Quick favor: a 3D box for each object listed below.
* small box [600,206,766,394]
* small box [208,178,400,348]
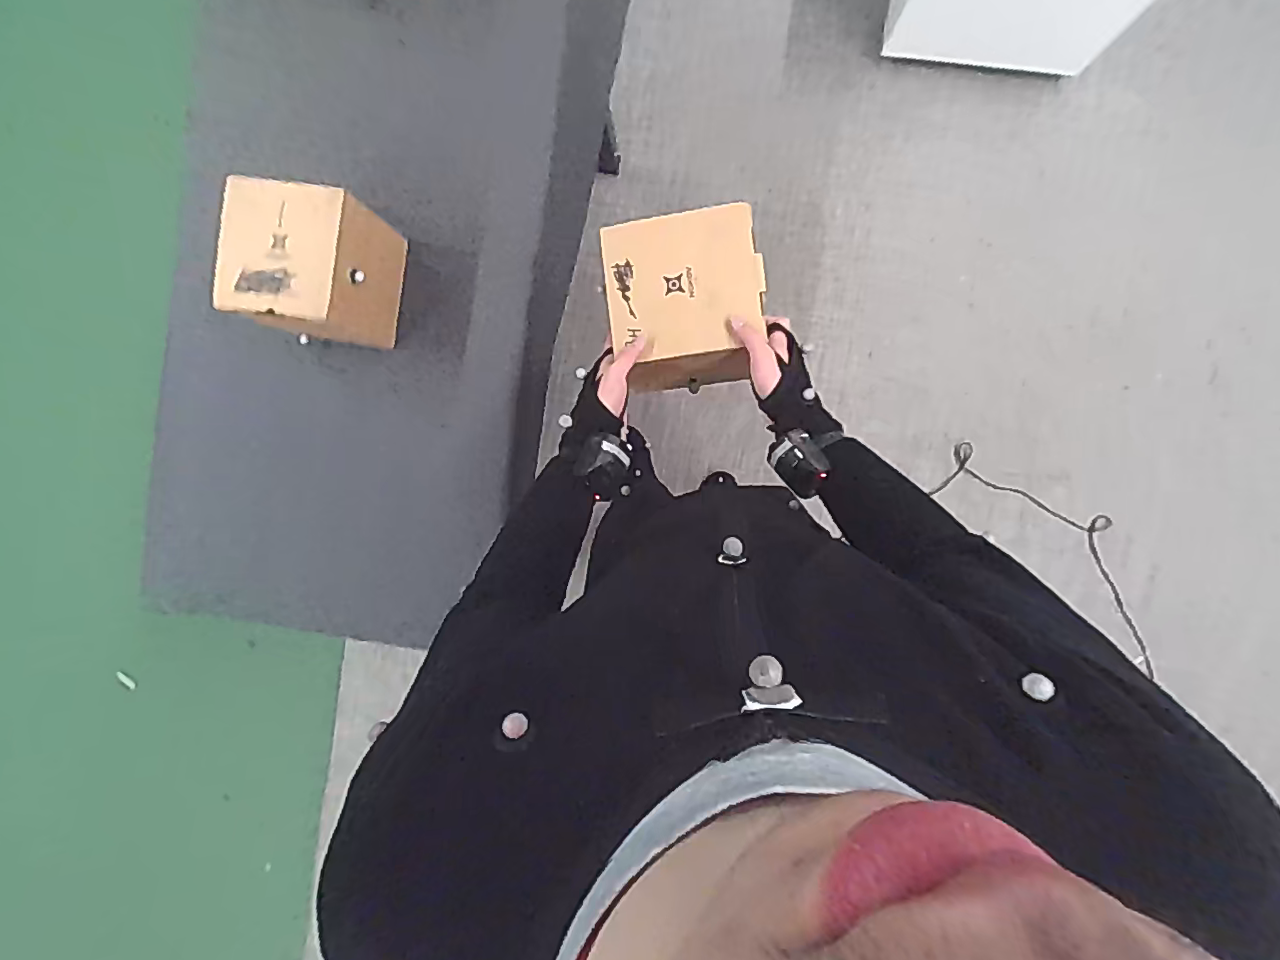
[{"bbox_3d":[0.053,-0.214,0.686,0.179,0.176,0.168,-6,85,6],"label":"small box"},{"bbox_3d":[-0.474,-0.302,0.788,0.168,0.176,0.179,9,91,4],"label":"small box"}]
